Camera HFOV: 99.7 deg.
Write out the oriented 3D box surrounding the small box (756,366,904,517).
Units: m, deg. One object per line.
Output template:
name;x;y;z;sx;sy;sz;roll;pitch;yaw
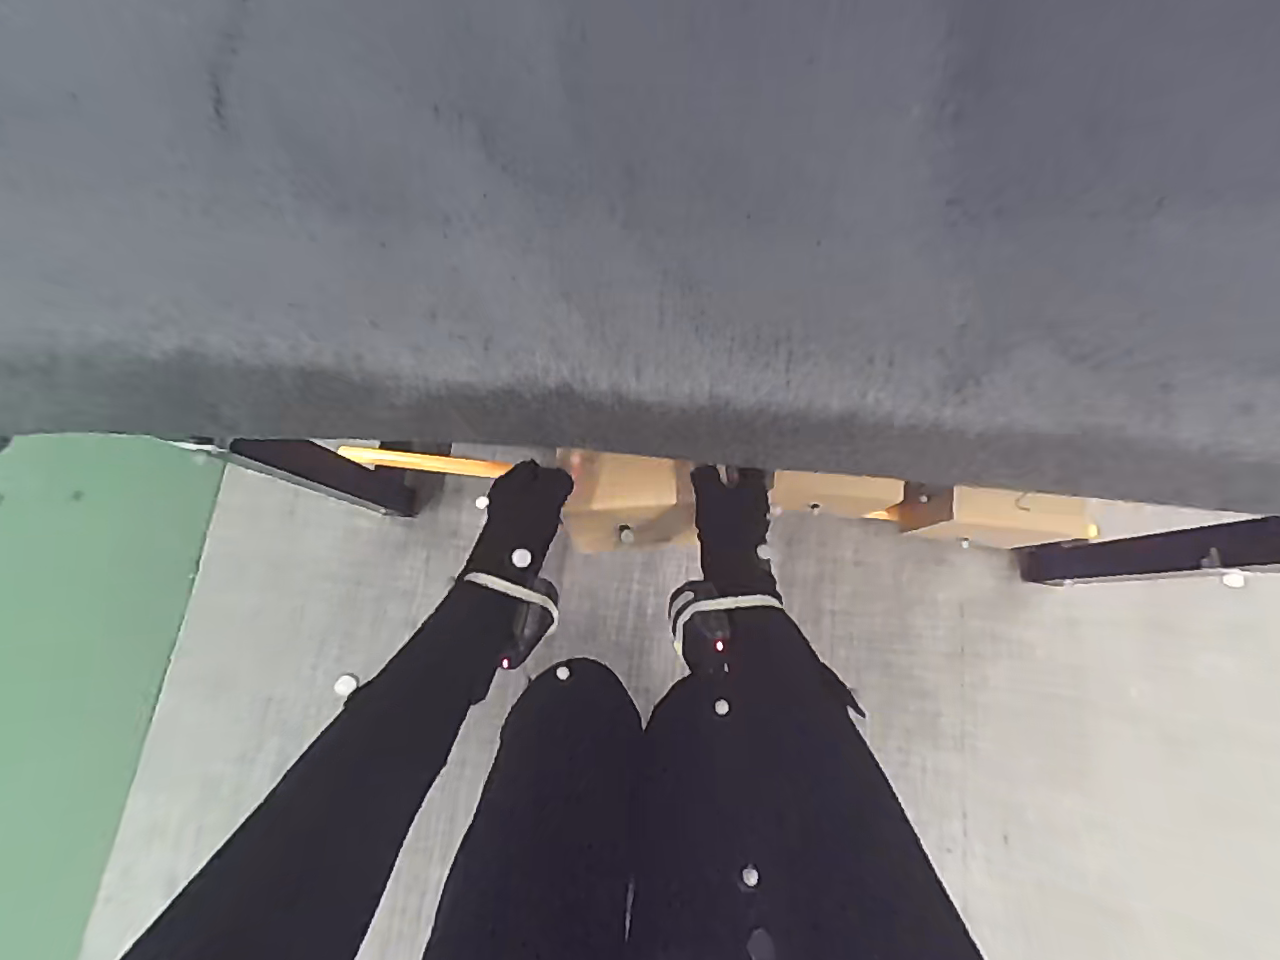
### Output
small box;0.266;-0.046;0.787;0.168;0.176;0.179;5;78;4
